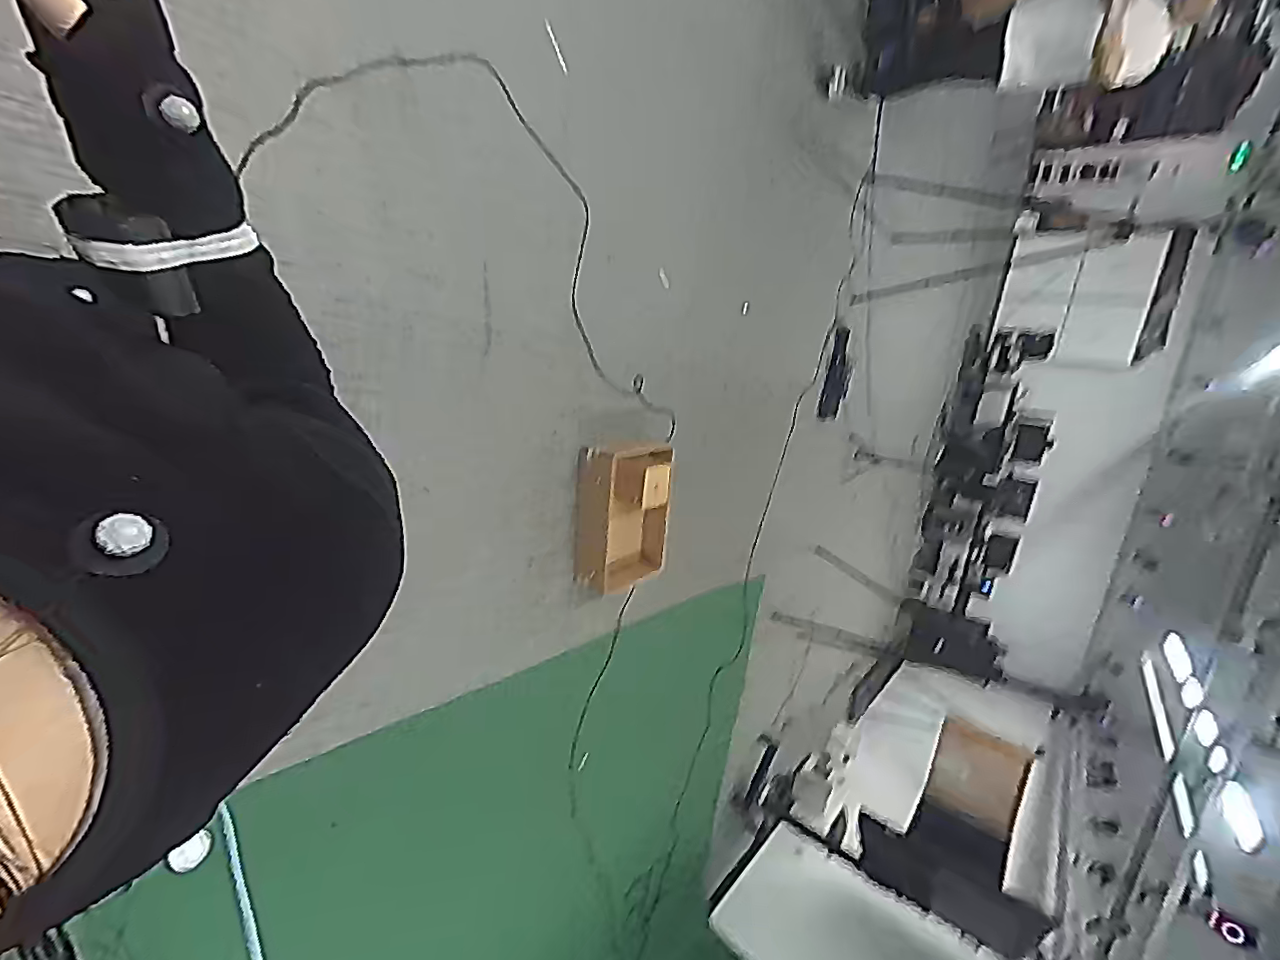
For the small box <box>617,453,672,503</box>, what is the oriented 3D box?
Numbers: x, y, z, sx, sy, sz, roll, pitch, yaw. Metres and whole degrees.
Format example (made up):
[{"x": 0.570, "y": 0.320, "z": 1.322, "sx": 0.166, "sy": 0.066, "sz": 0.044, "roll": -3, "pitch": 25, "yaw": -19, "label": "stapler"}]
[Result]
[{"x": 0.017, "y": -0.016, "z": 2.333, "sx": 0.168, "sy": 0.176, "sz": 0.179, "roll": -14, "pitch": 115, "yaw": -47, "label": "small box"}]
